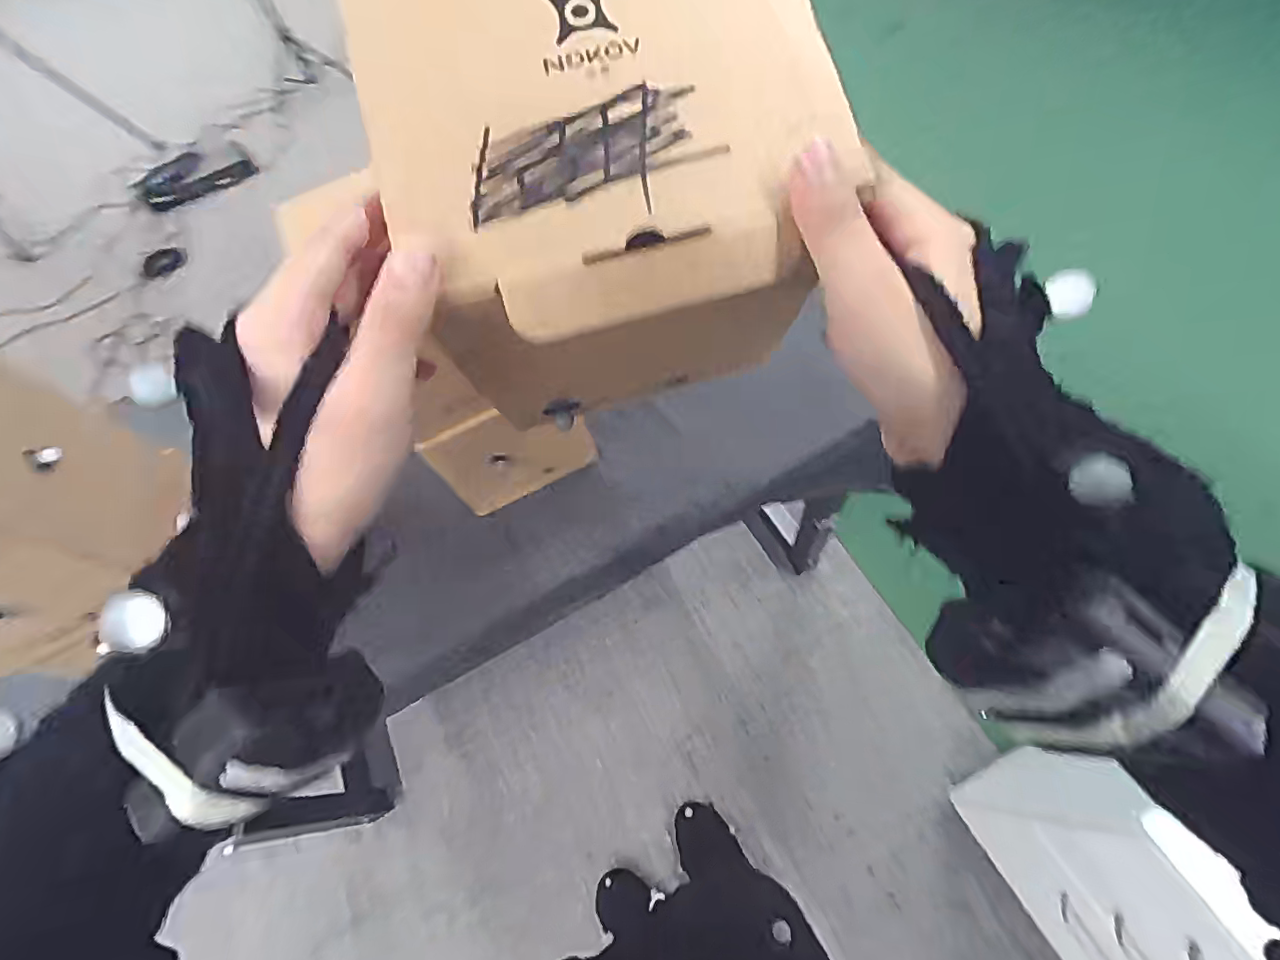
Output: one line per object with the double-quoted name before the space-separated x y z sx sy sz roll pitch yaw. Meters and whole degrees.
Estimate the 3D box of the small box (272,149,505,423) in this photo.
"small box" -0.204 -0.178 0.515 0.168 0.176 0.179 -27 61 -8

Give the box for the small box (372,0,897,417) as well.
"small box" -0.009 -0.141 0.273 0.168 0.176 0.179 -14 82 -3

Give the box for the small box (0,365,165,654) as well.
"small box" -0.546 0.030 0.449 0.168 0.176 0.179 -28 62 -8

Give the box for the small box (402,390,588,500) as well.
"small box" -0.180 -0.095 0.653 0.168 0.176 0.179 -27 62 -6
